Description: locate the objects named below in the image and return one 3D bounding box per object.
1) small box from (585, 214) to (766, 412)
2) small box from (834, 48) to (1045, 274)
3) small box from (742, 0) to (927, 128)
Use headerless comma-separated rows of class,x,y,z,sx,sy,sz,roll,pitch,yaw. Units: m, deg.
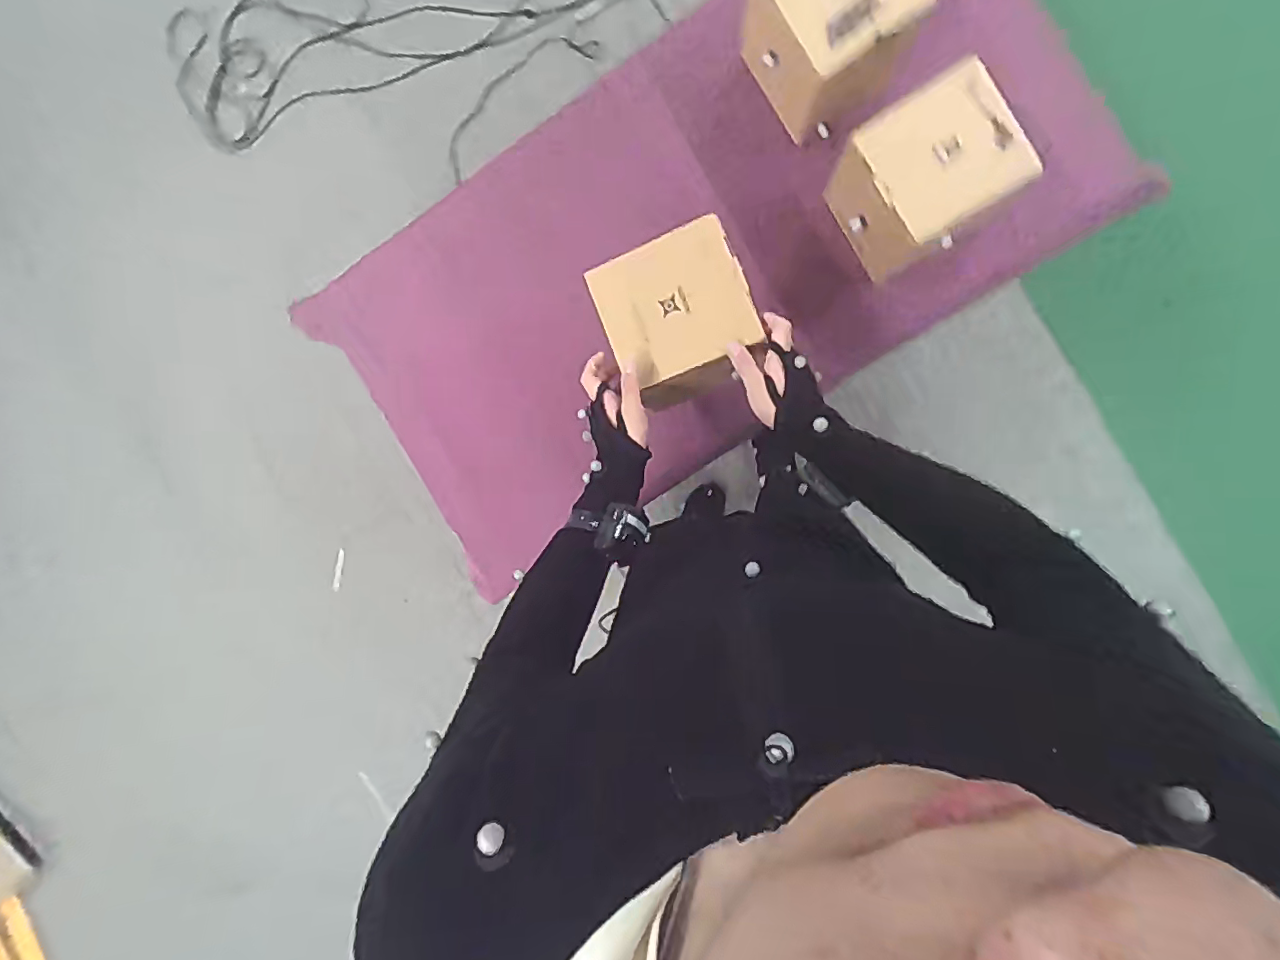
small box,0.053,-0.201,0.707,0.179,0.176,0.168,-20,84,11
small box,0.387,-0.415,0.742,0.179,0.176,0.168,-30,89,9
small box,0.256,-0.630,0.744,0.168,0.176,0.179,-32,89,8
